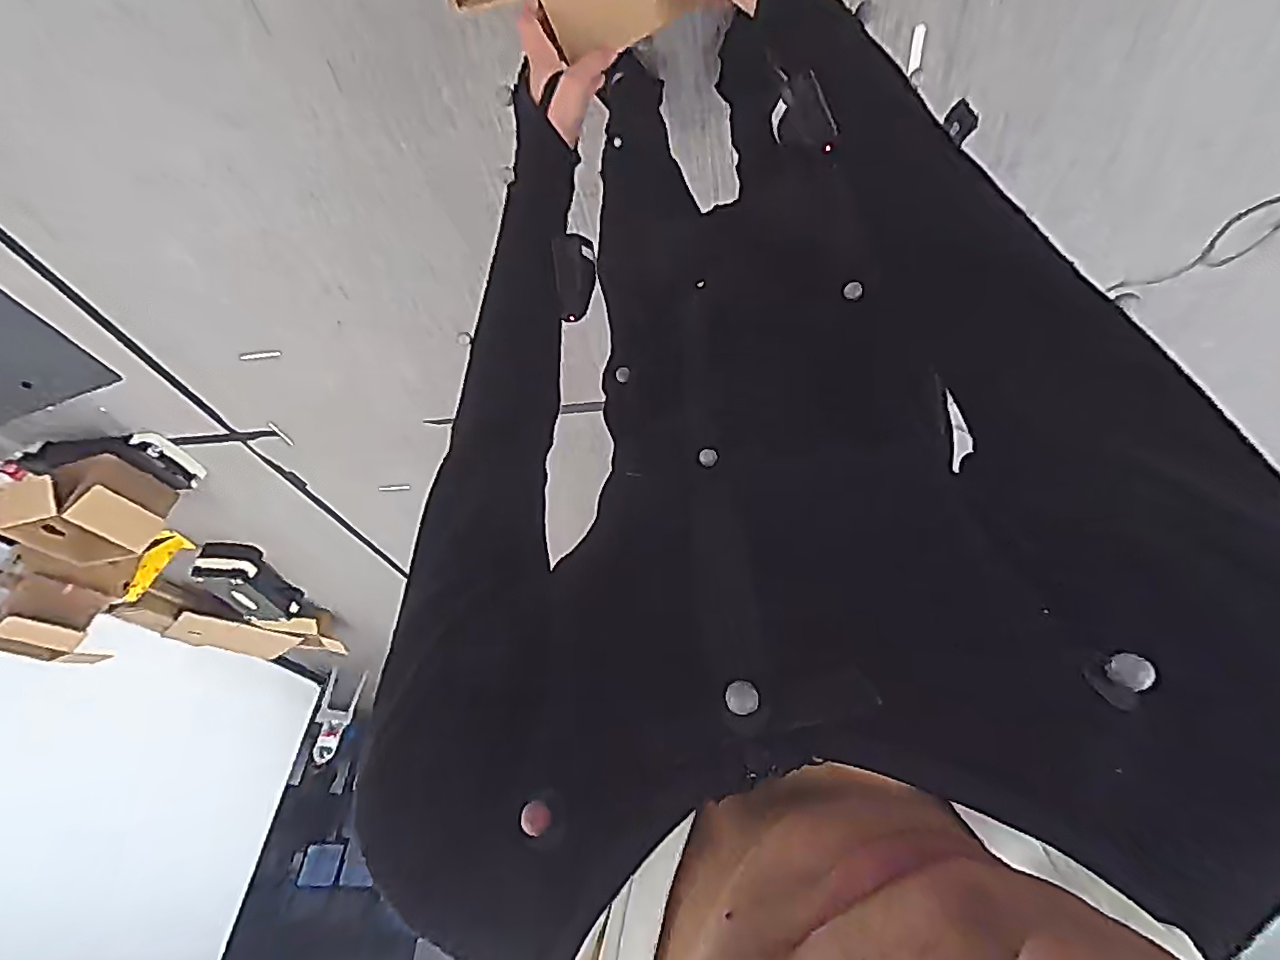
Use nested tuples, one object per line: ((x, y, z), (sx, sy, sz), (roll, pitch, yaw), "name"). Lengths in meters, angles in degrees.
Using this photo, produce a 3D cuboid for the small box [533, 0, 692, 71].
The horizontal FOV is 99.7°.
((-0.029, -0.502, 0.472), (0.168, 0.176, 0.179), (-19, 130, 17), "small box")
